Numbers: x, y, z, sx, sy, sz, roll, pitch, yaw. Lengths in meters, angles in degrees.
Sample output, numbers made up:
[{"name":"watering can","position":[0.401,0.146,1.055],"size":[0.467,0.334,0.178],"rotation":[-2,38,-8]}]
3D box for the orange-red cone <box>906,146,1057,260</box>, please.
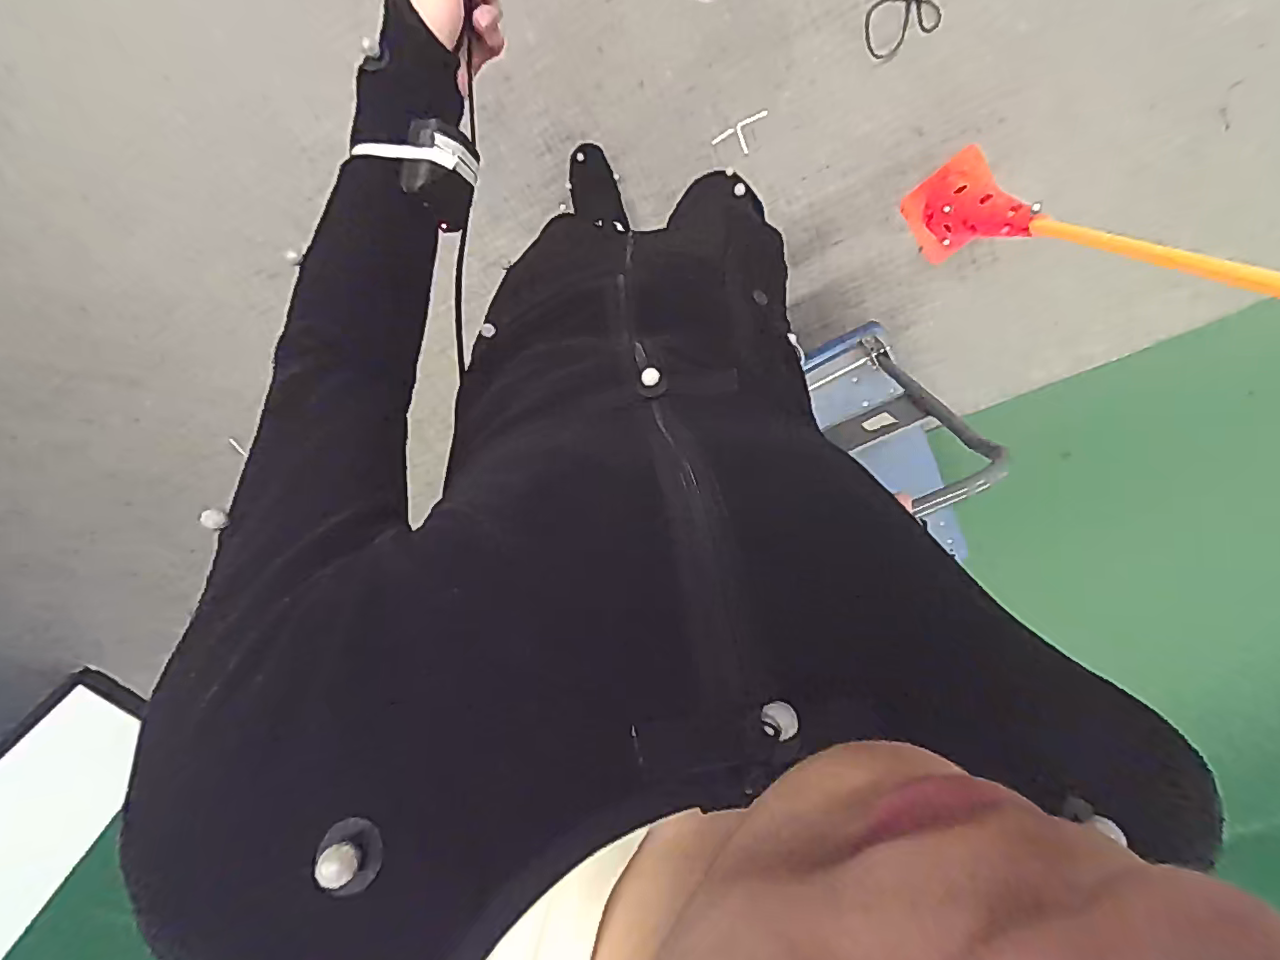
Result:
[{"name":"orange-red cone","position":[0.779,-0.583,1.181],"size":[0.199,0.360,0.198],"rotation":[-37,116,19]}]
